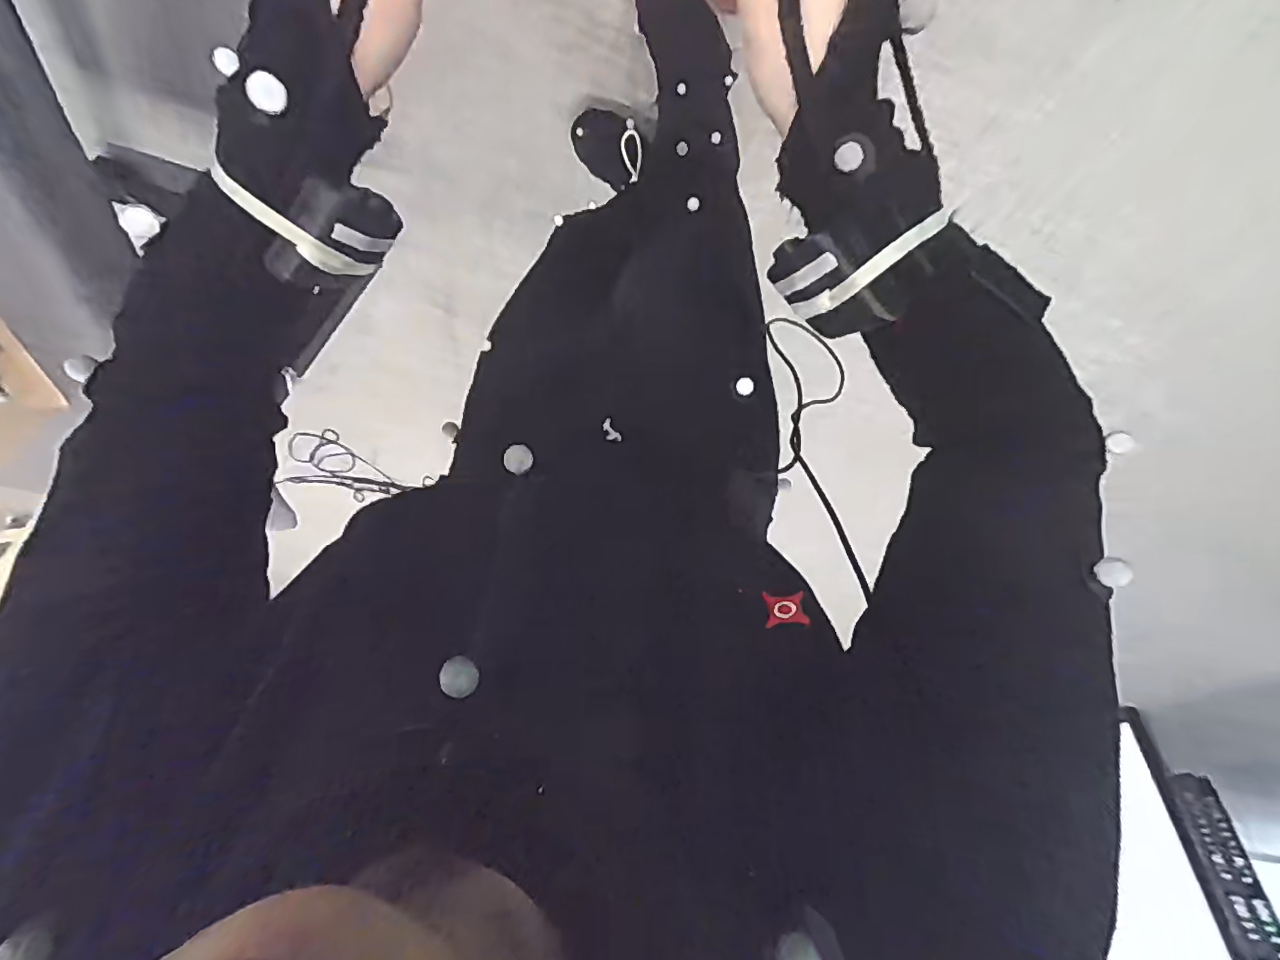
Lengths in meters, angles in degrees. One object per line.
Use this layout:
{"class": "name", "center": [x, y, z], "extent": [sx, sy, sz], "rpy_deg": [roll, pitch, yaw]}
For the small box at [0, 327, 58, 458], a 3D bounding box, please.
{"class": "small box", "center": [-0.729, -0.084, 0.498], "extent": [0.179, 0.176, 0.168], "rpy_deg": [13, 141, -9]}
